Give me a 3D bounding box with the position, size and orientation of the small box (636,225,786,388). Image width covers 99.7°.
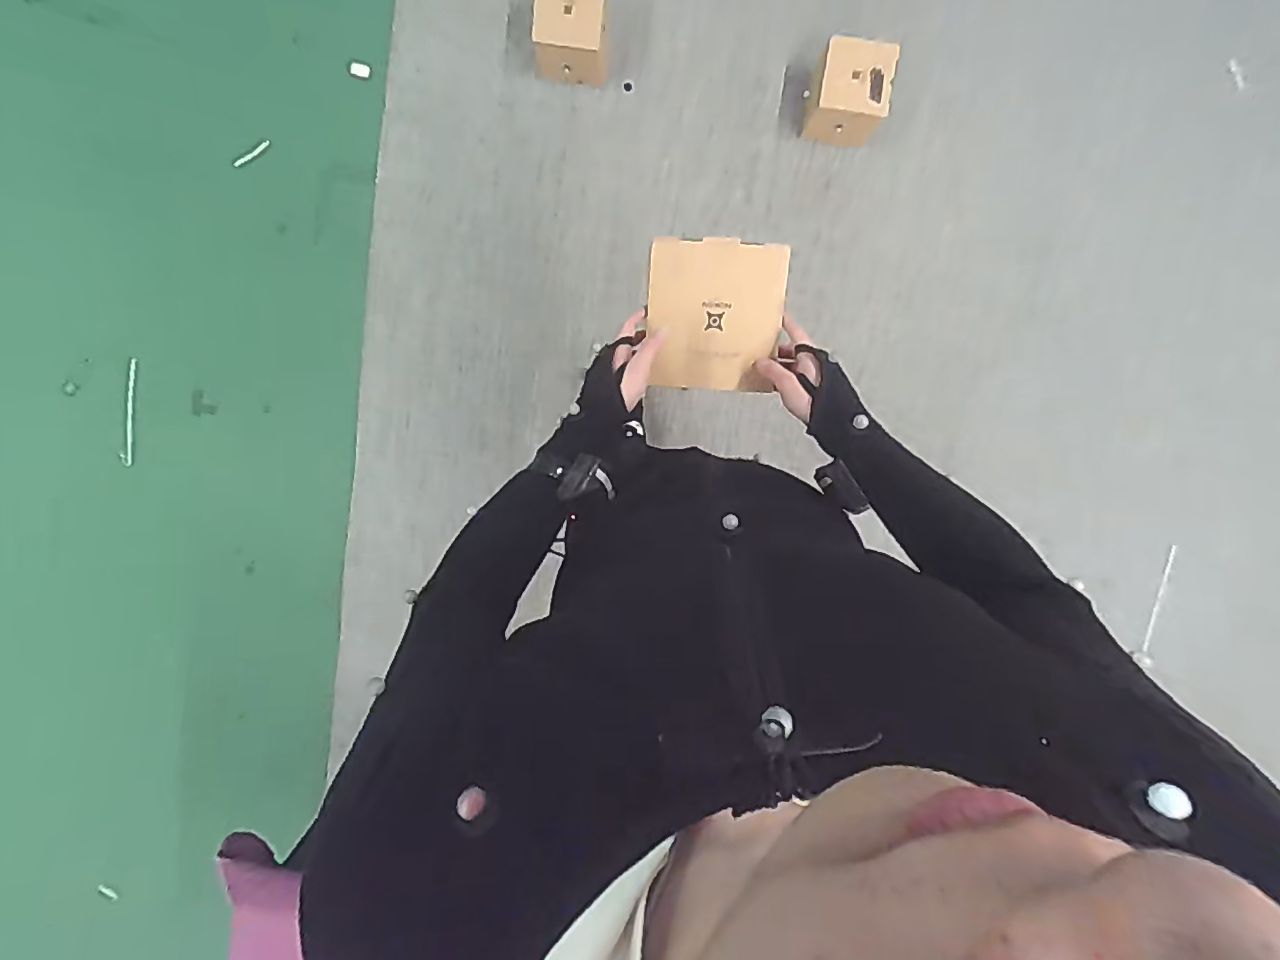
[{"bbox_3d":[0.081,-0.224,0.716,0.168,0.176,0.179,4,107,-1],"label":"small box"}]

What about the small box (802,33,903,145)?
[{"bbox_3d":[0.537,-0.993,1.390,0.179,0.176,0.168,8,97,-1],"label":"small box"}]

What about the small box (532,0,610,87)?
[{"bbox_3d":[-0.168,-1.138,1.367,0.168,0.176,0.179,7,98,-2],"label":"small box"}]
